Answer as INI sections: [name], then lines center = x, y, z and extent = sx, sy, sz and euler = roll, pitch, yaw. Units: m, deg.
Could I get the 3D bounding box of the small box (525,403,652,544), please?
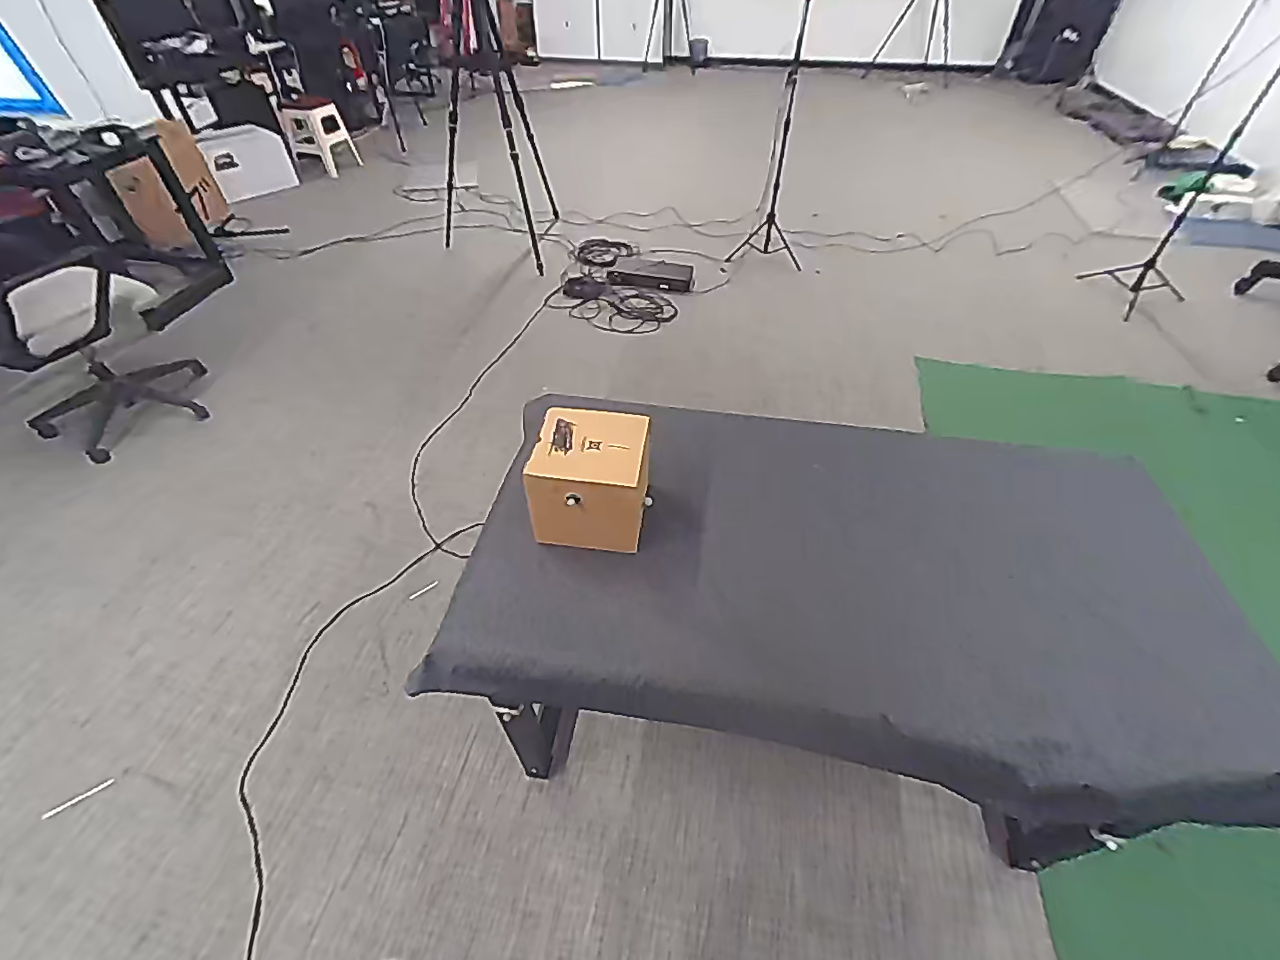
[small box]
center = -0.078, -0.008, 0.916
extent = 0.179, 0.176, 0.168
euler = 6, 47, 4
